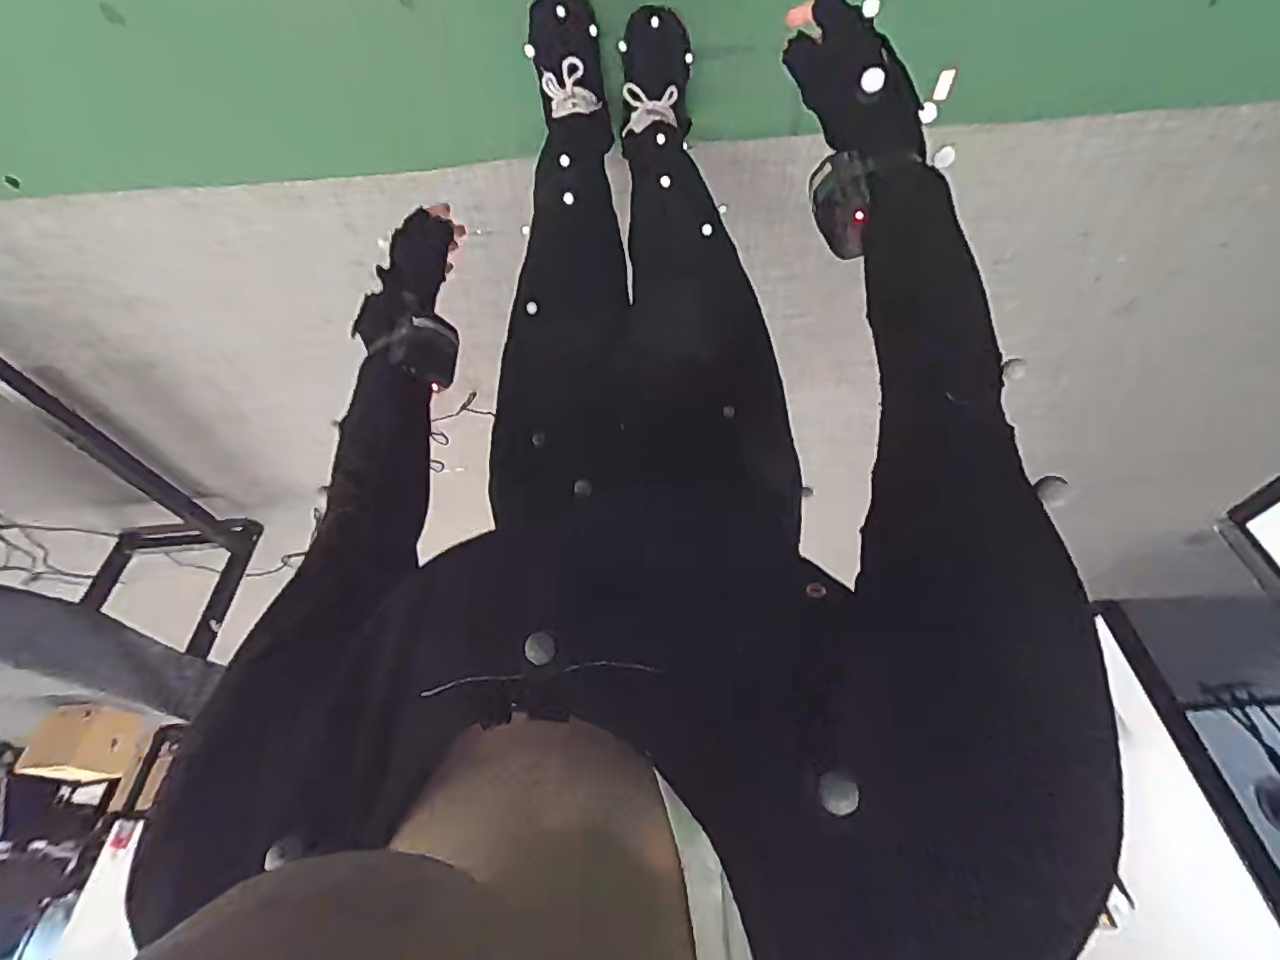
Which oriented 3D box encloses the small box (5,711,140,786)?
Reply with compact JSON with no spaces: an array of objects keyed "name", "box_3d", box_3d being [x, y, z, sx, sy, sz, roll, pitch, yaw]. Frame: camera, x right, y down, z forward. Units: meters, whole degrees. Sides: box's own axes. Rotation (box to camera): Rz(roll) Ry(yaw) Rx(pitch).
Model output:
[{"name":"small box","box_3d":[-1.626,0.774,1.563,0.168,0.176,0.179,-4,144,2]}]
